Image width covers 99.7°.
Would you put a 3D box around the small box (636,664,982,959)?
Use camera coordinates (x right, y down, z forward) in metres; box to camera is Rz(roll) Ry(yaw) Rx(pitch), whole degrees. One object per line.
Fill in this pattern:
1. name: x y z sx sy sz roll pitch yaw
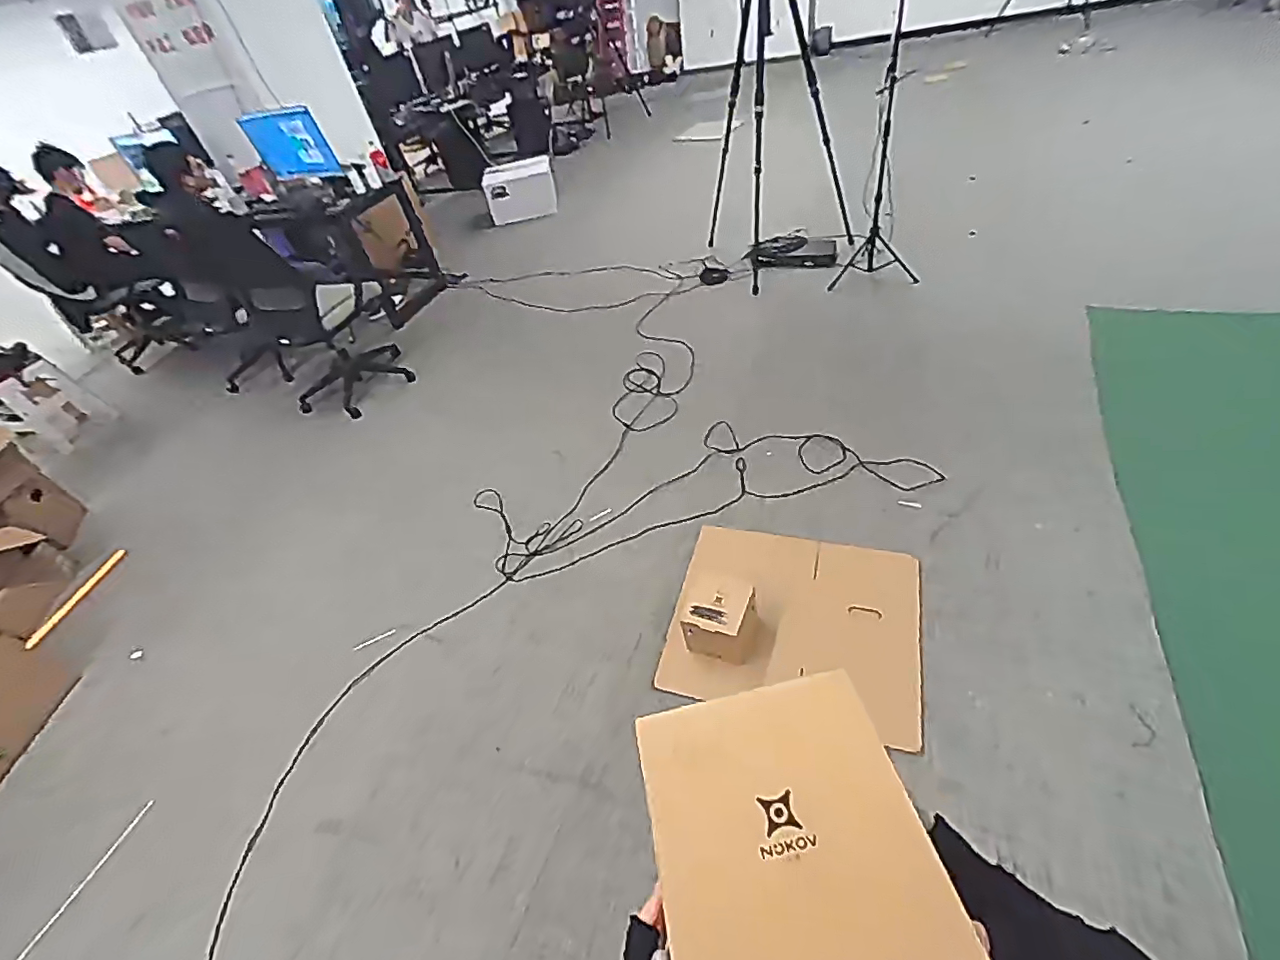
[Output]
1. small box: 0.100 0.270 0.398 0.168 0.176 0.179 -13 43 -1
